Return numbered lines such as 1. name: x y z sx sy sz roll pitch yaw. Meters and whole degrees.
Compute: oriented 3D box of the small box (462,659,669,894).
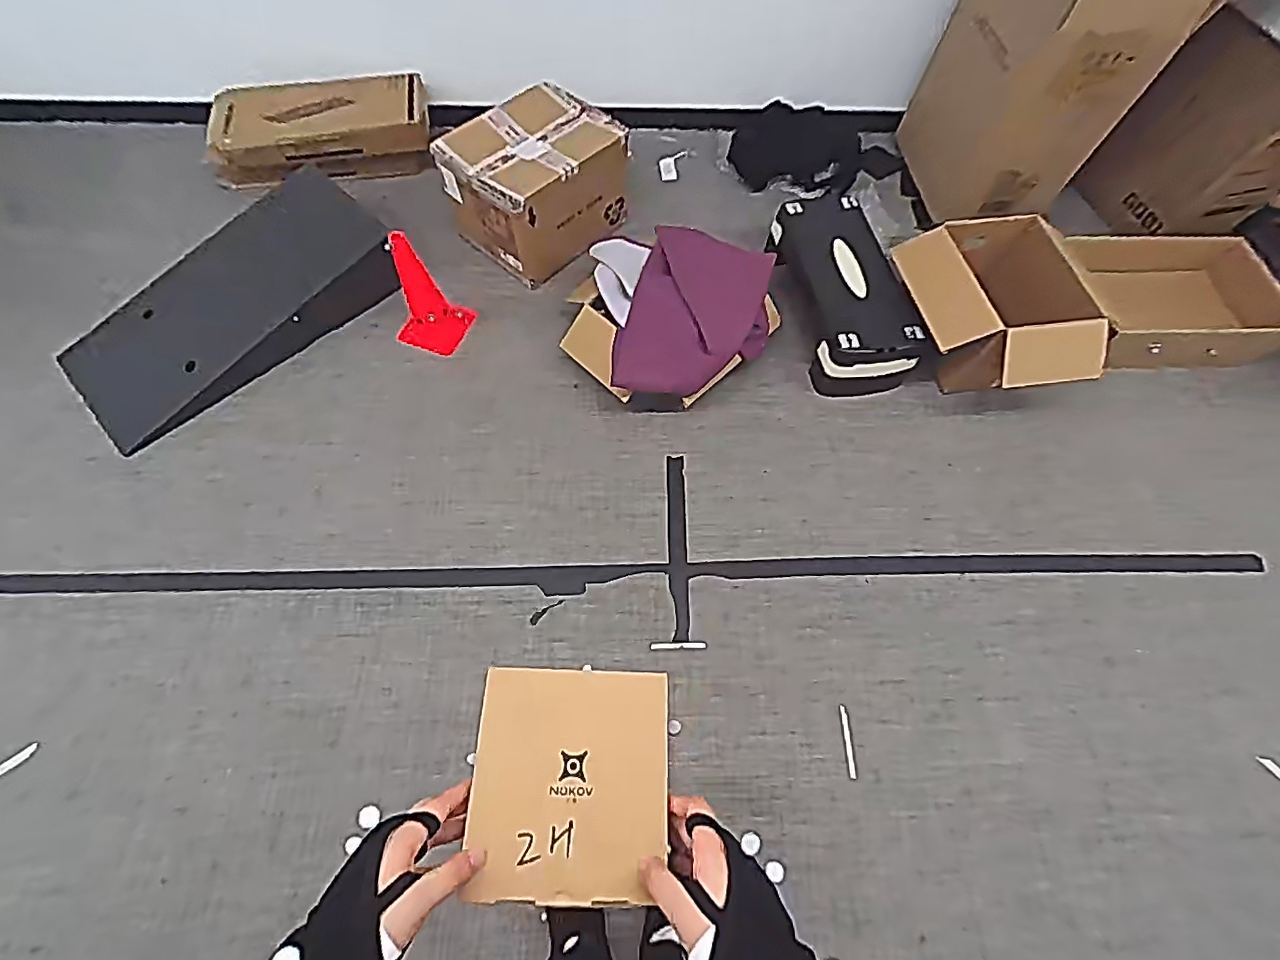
1. small box: -0.063 0.283 0.536 0.168 0.176 0.179 3 64 -3
